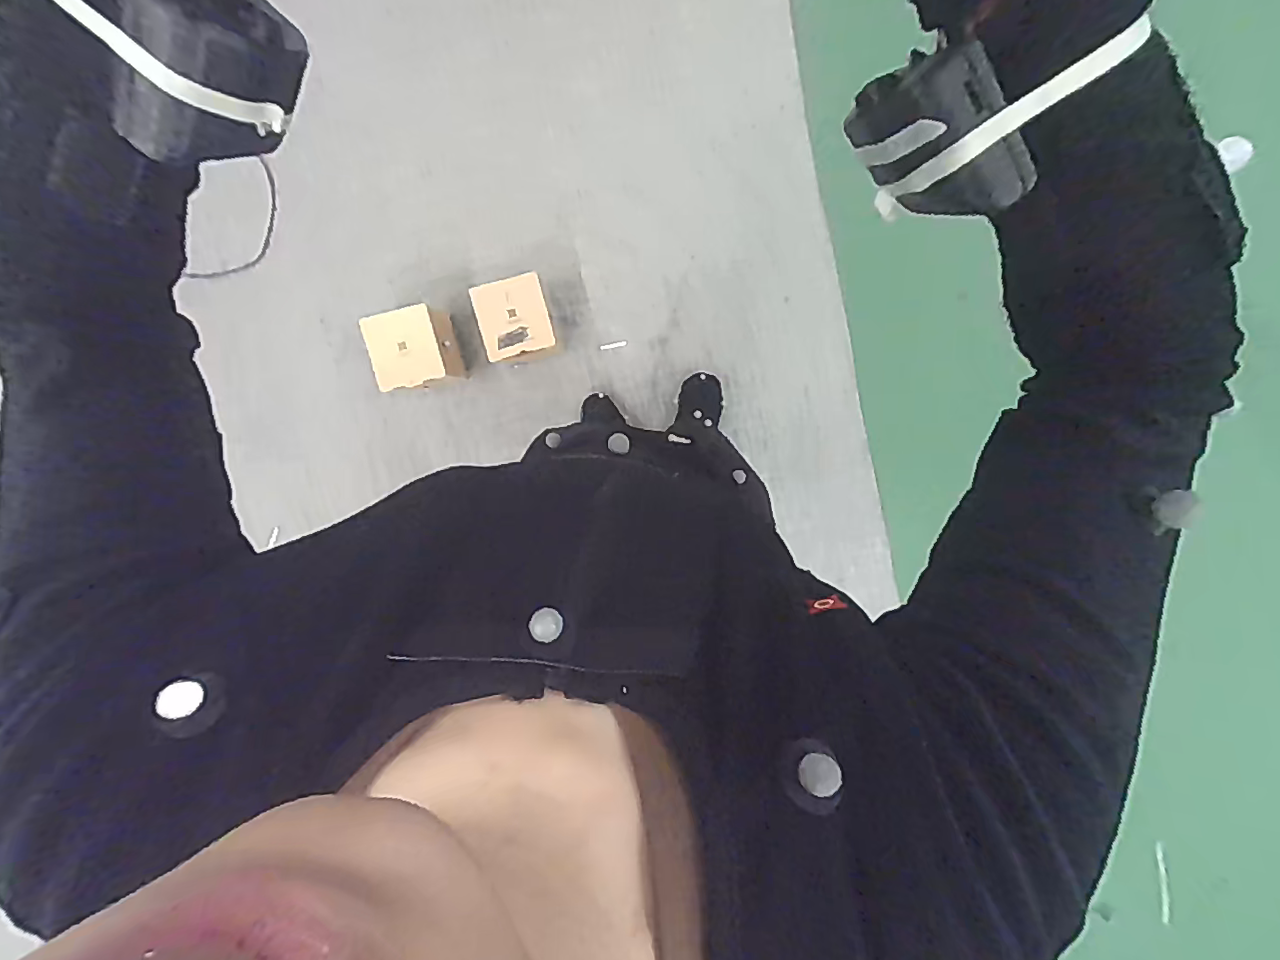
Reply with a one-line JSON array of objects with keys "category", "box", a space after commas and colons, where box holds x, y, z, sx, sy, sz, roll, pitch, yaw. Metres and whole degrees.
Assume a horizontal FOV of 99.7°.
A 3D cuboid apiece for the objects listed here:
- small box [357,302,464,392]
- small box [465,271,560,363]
[{"category": "small box", "box": [-0.561, -0.321, 1.342, 0.168, 0.176, 0.179, -14, 99, 2]}, {"category": "small box", "box": [-0.304, -0.391, 1.332, 0.168, 0.176, 0.179, -15, 98, 2]}]
